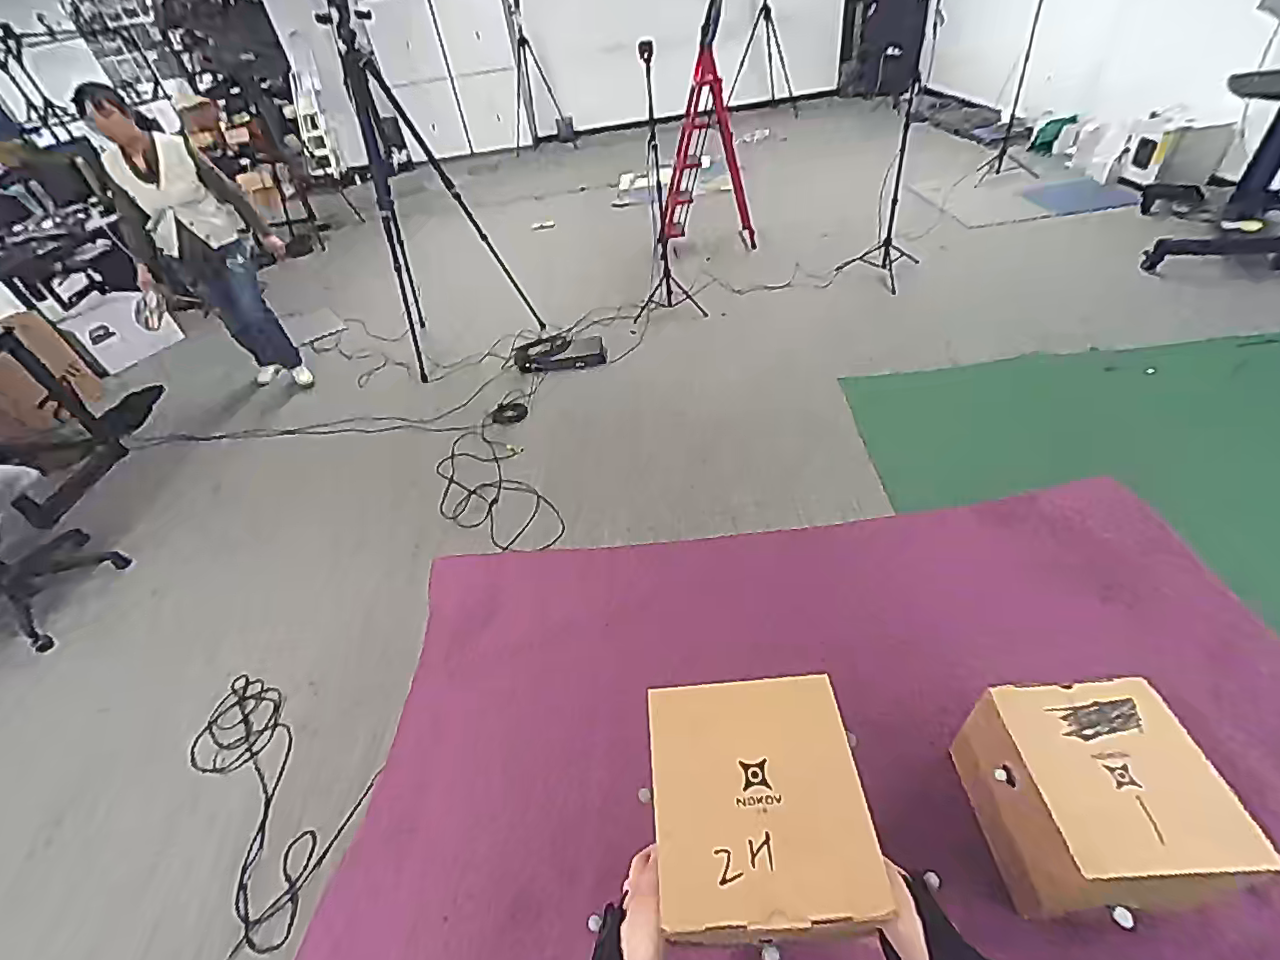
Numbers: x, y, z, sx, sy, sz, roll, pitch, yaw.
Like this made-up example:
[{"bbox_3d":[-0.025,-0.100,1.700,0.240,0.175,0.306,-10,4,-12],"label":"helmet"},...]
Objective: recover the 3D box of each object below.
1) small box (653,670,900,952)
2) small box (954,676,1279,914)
[{"bbox_3d":[0.102,0.295,0.484,0.168,0.176,0.179,-6,44,3],"label":"small box"},{"bbox_3d":[0.470,0.335,0.578,0.168,0.176,0.179,-6,42,4],"label":"small box"}]
